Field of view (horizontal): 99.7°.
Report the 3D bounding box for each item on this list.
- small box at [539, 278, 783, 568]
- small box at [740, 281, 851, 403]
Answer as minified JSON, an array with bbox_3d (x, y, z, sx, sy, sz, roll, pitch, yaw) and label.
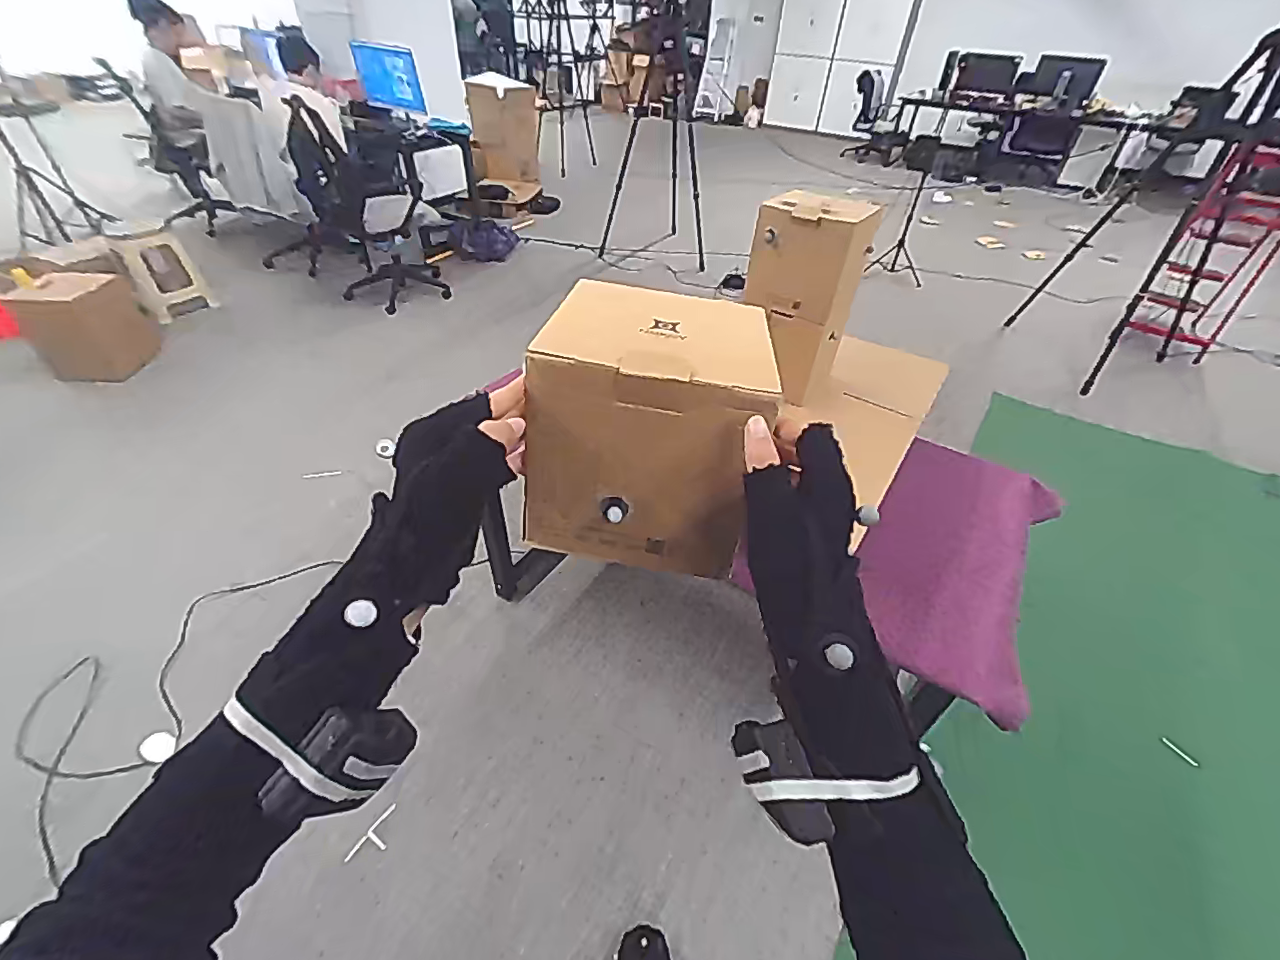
[{"bbox_3d":[0.012,-0.053,0.464,0.168,0.176,0.179,10,36,1],"label":"small box"},{"bbox_3d":[0.297,-0.278,1.089,0.168,0.176,0.179,26,43,24],"label":"small box"}]
